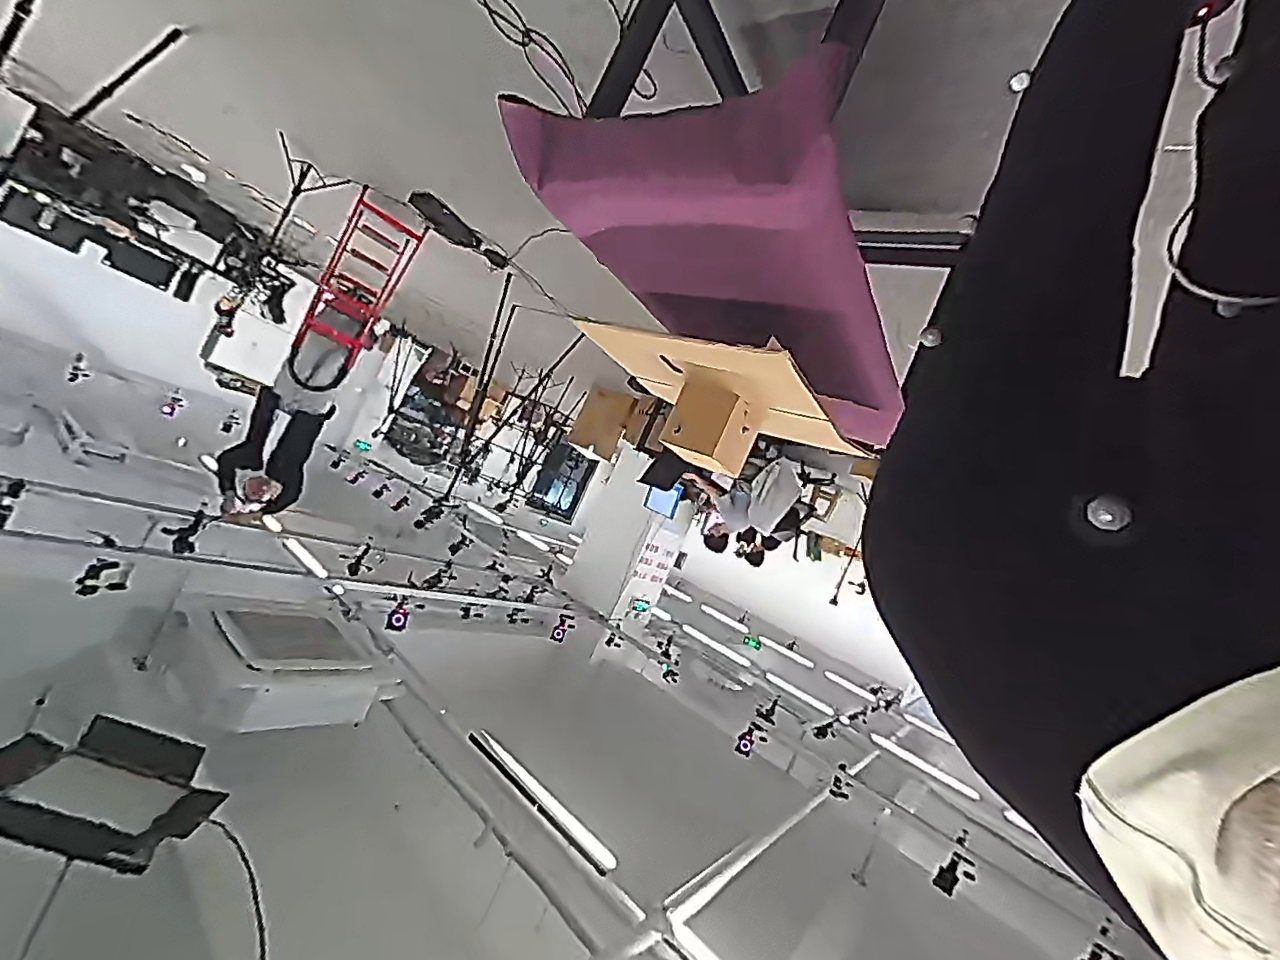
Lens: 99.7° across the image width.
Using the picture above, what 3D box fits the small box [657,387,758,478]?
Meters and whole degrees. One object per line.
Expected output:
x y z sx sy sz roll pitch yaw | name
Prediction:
0.180 -0.128 1.416 0.179 0.176 0.168 21 174 37 | small box
